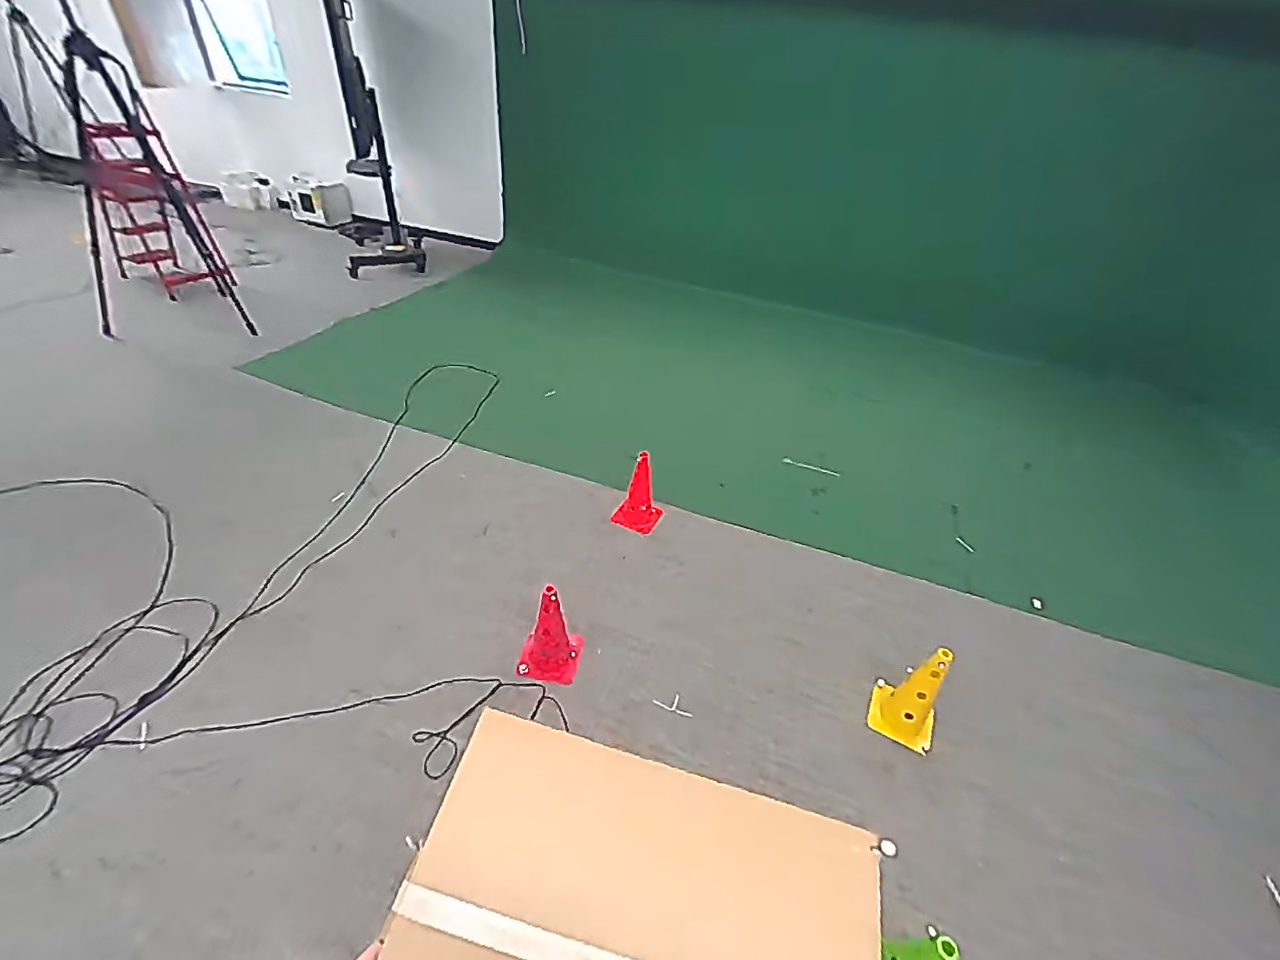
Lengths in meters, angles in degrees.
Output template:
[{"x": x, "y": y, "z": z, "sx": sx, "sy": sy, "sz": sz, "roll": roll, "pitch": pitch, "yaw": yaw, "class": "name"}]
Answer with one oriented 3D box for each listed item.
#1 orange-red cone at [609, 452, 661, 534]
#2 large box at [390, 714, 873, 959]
[{"x": -0.007, "y": 0.031, "z": 2.418, "sx": 0.199, "sy": 0.360, "sz": 0.198, "roll": 20, "pitch": 38, "yaw": 19, "class": "orange-red cone"}, {"x": -0.022, "y": 0.492, "z": 0.569, "sx": 0.408, "sy": 0.320, "sz": 0.320, "roll": 16, "pitch": 53, "yaw": 3, "class": "large box"}]
